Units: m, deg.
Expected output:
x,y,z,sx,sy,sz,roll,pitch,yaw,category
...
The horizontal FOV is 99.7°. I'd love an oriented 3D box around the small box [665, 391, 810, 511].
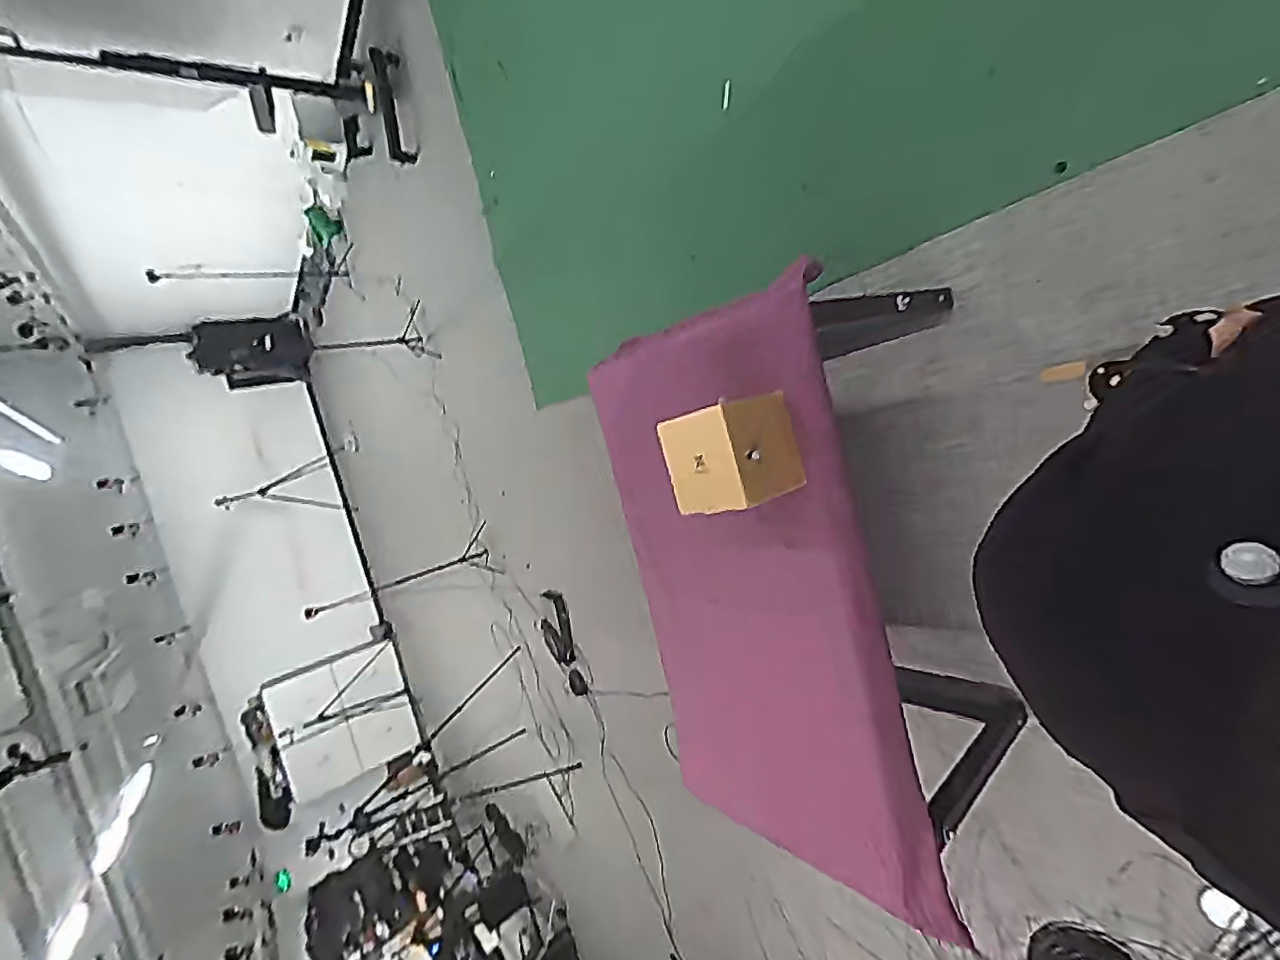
x,y,z,sx,sy,sz,roll,pitch,yaw,category
0.178,-0.055,0.976,0.168,0.176,0.179,-12,96,53,small box
